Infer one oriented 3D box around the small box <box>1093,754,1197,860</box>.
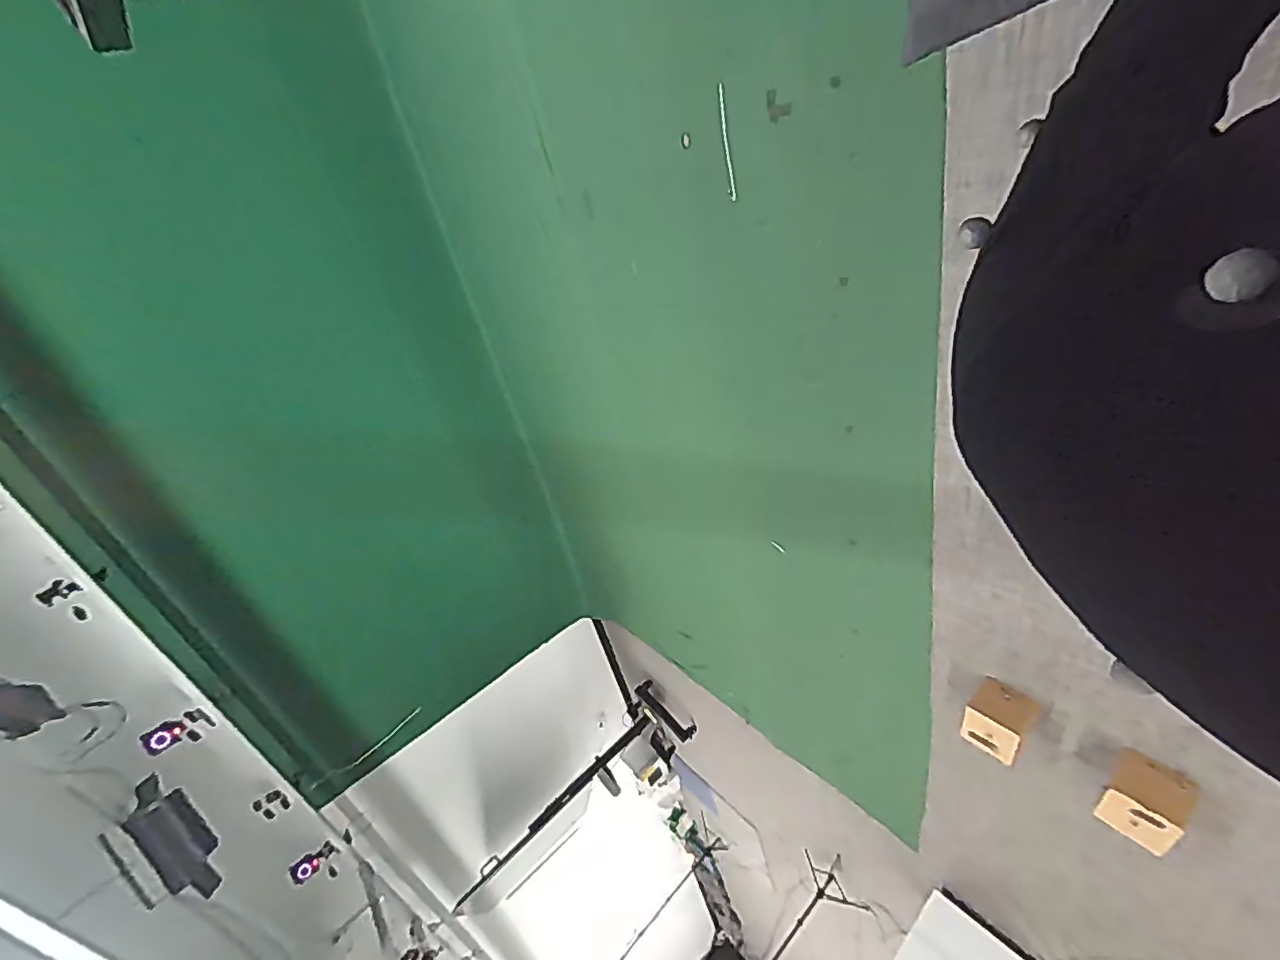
[{"bbox_3d":[1.481,0.951,1.584,0.168,0.176,0.179,29,142,44],"label":"small box"}]
